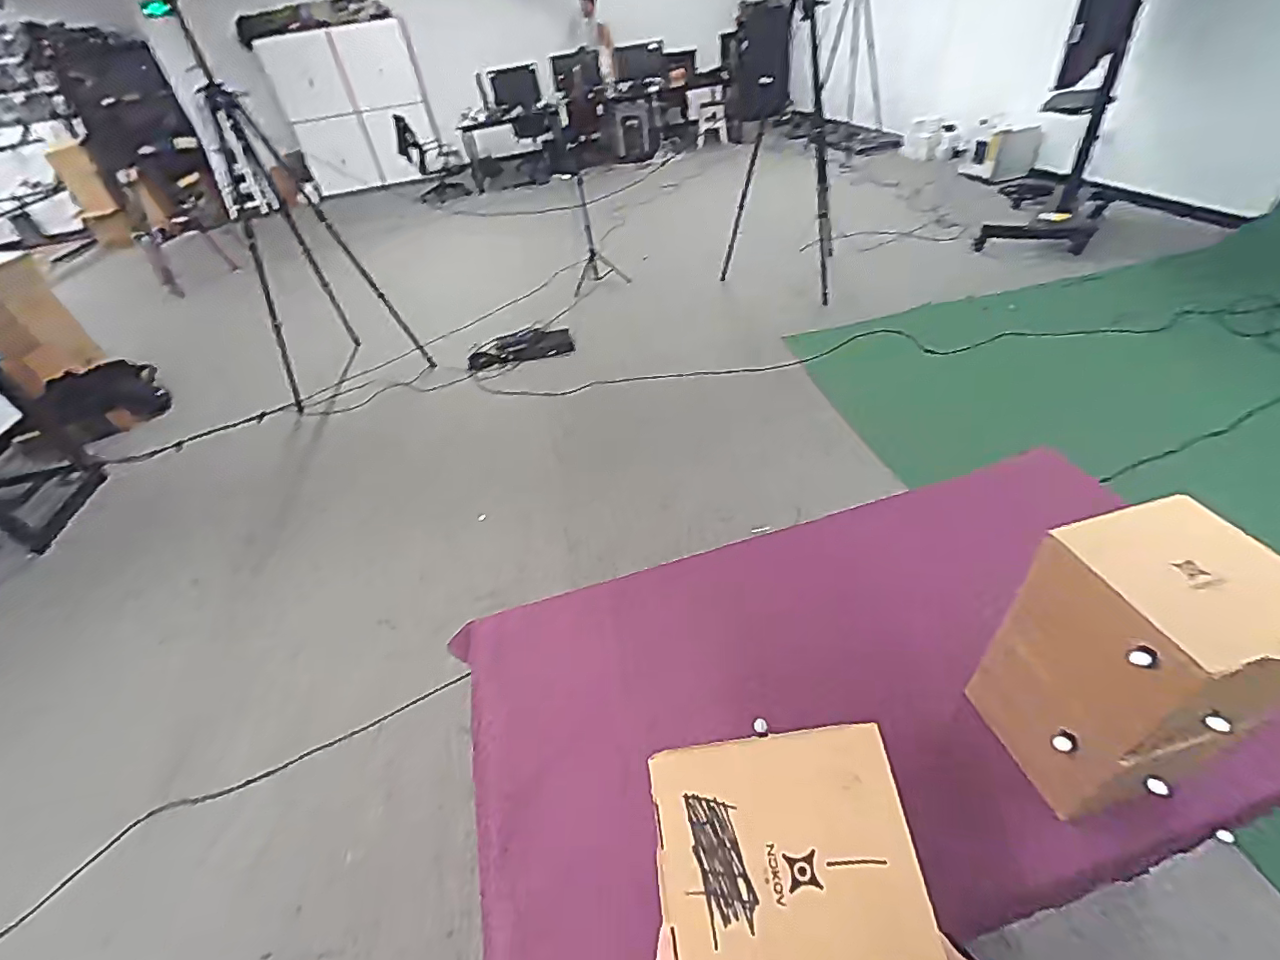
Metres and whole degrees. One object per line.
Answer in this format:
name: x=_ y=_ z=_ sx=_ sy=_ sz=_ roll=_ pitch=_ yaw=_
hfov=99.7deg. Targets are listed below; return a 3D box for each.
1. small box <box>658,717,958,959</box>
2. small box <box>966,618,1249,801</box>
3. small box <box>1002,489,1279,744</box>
small box: x=0.117 y=0.297 z=0.443 sx=0.179 sy=0.176 sz=0.168 roll=-10 pitch=65 yaw=2
small box: x=0.552 y=0.270 z=0.672 sx=0.168 sy=0.176 sz=0.179 roll=-15 pitch=41 yaw=-6
small box: x=0.533 y=0.142 z=0.572 sx=0.168 sy=0.176 sz=0.179 roll=-15 pitch=42 yaw=-6
